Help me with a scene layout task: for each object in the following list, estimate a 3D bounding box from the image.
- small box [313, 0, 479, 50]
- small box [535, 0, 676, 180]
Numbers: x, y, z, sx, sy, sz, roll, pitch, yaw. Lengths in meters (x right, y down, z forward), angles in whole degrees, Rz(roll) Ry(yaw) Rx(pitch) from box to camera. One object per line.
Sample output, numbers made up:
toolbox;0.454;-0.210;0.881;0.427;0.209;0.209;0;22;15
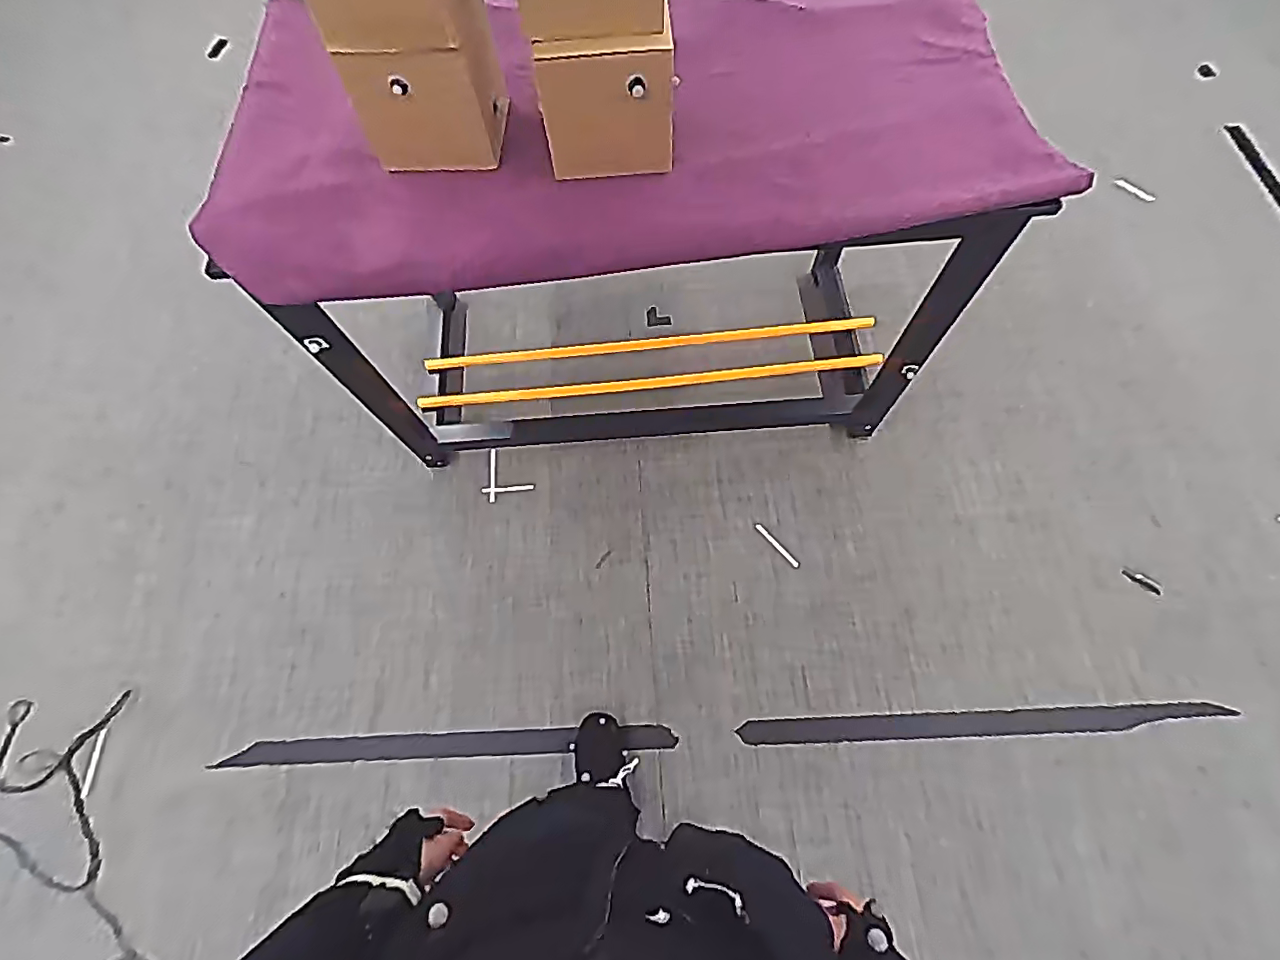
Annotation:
small box;-0.298;-0.647;0.638;0.179;0.176;0.168;3;68;4
small box;-0.044;-0.559;0.768;0.179;0.176;0.168;-4;66;1
